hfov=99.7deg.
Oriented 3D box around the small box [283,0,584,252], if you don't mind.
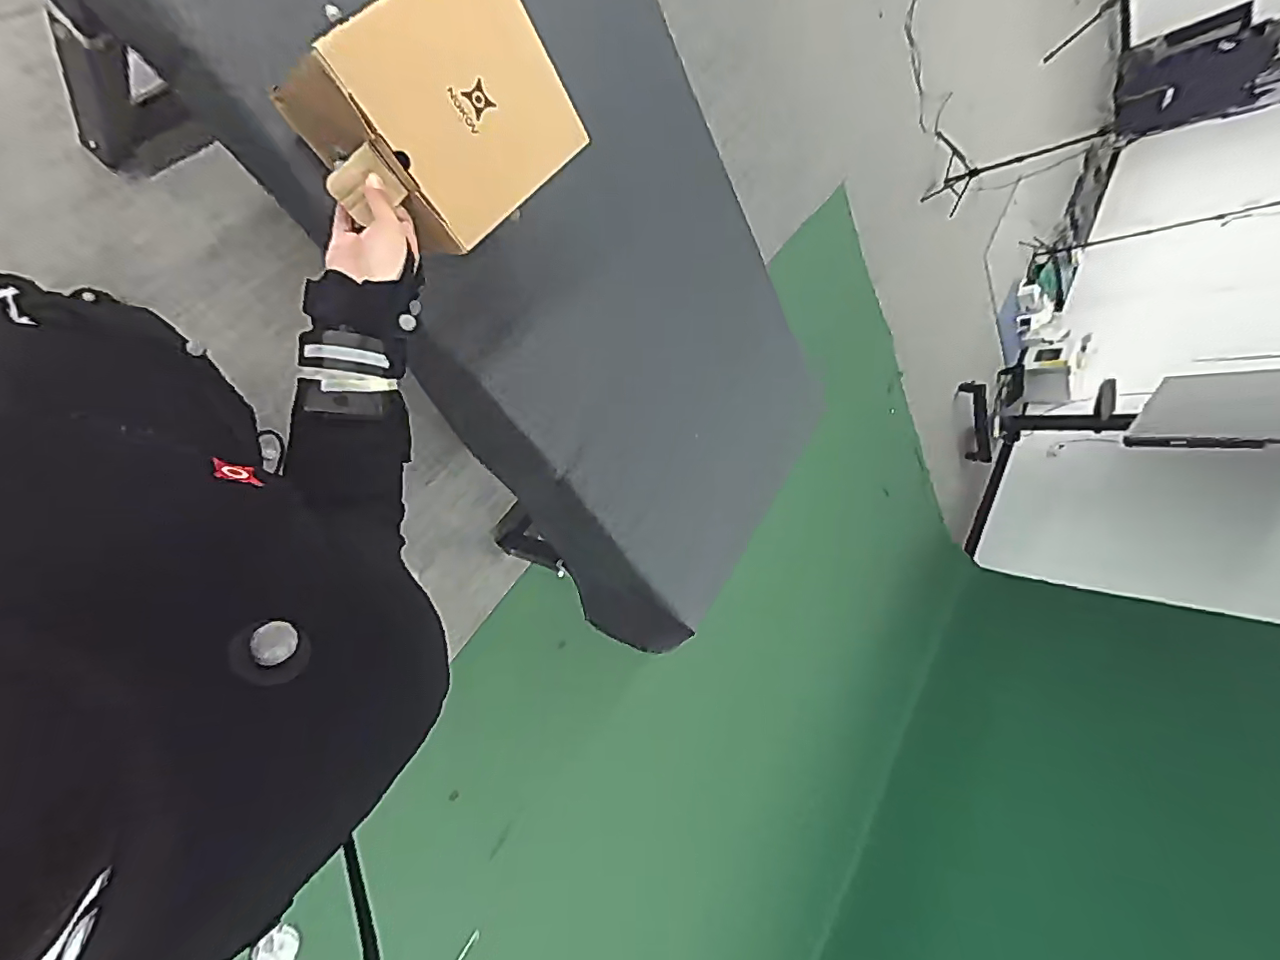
[{"bbox_3d":[-0.193,-0.341,0.509,0.179,0.176,0.168,-51,135,-16],"label":"small box"}]
